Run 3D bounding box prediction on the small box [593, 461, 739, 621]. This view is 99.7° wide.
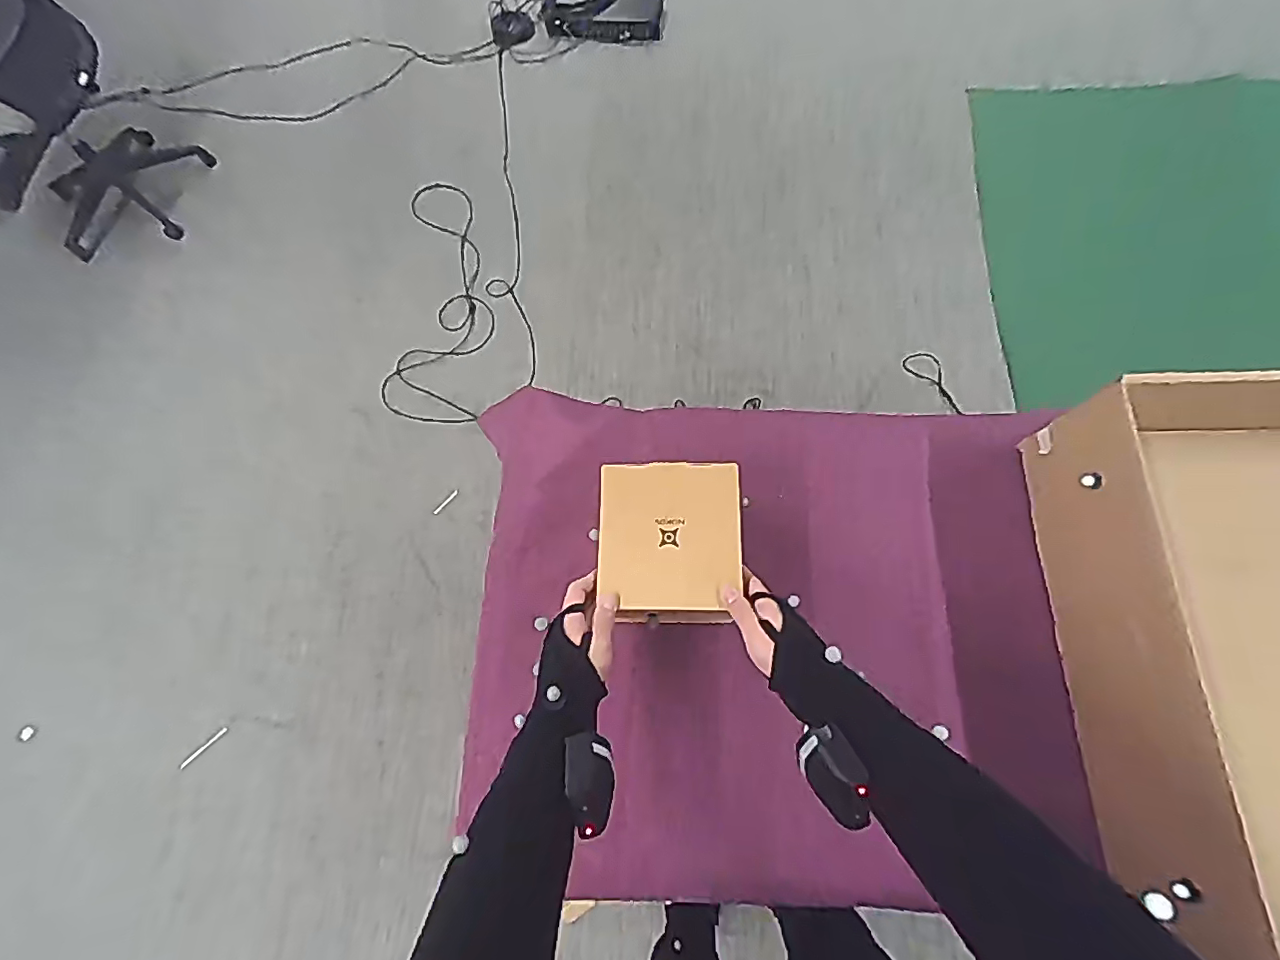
[{"bbox_3d":[0.038,0.087,0.698,0.168,0.176,0.179,-1,69,5],"label":"small box"}]
